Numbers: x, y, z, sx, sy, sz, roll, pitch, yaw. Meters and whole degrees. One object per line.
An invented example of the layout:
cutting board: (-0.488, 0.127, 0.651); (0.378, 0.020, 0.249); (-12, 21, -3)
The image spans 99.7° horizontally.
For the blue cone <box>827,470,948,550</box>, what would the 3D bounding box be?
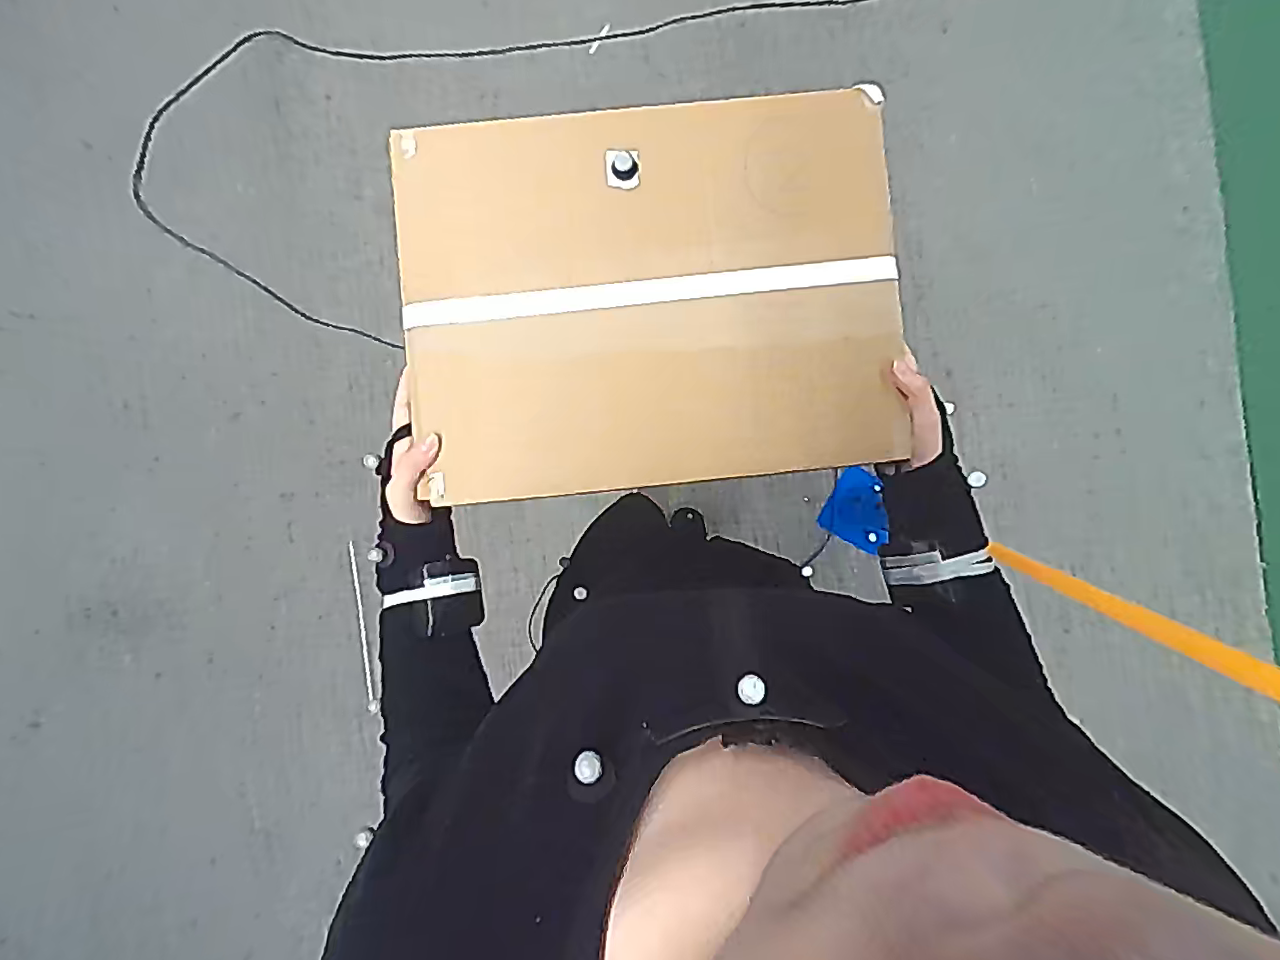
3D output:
blue cone: (0.628, 0.083, 1.316); (0.193, 0.380, 0.192); (26, 91, -1)
